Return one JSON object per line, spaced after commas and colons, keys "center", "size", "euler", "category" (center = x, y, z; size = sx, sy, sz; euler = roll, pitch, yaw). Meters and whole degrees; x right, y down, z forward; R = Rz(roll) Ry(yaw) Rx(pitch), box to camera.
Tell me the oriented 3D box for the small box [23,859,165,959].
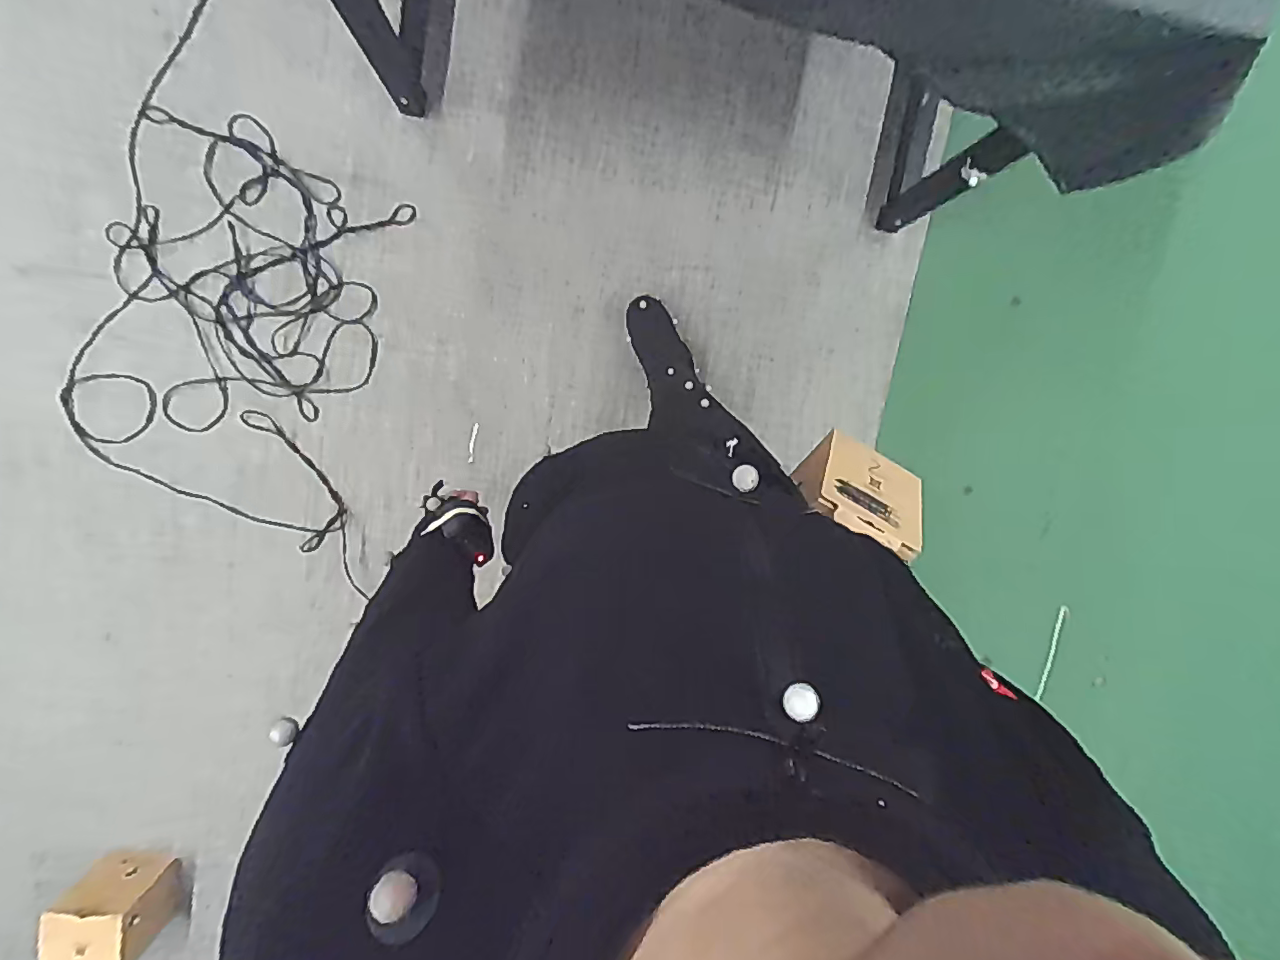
{"center": [-1.241, 1.019, 1.239], "size": [0.168, 0.176, 0.179], "euler": [8, 96, -7], "category": "small box"}
